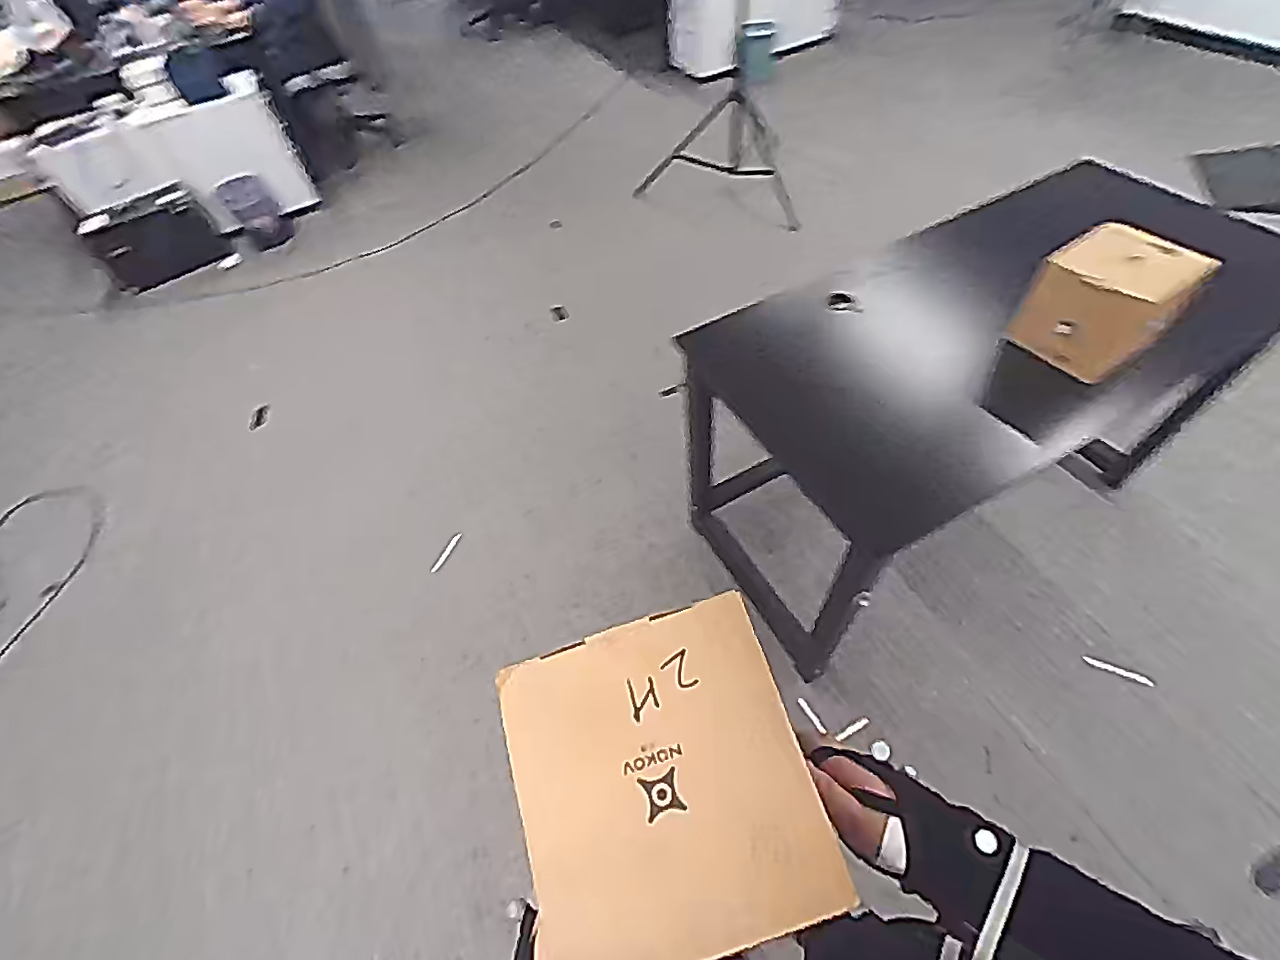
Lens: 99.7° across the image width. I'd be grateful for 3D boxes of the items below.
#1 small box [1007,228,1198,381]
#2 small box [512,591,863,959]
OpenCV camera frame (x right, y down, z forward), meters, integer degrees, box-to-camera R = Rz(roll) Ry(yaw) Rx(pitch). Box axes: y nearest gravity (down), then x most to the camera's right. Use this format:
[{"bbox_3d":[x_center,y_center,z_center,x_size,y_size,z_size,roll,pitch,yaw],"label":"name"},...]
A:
[{"bbox_3d":[0.794,-0.306,0.956,0.179,0.176,0.168,-30,56,-14],"label":"small box"},{"bbox_3d":[0.028,0.200,0.387,0.168,0.176,0.179,-18,65,-1],"label":"small box"}]
